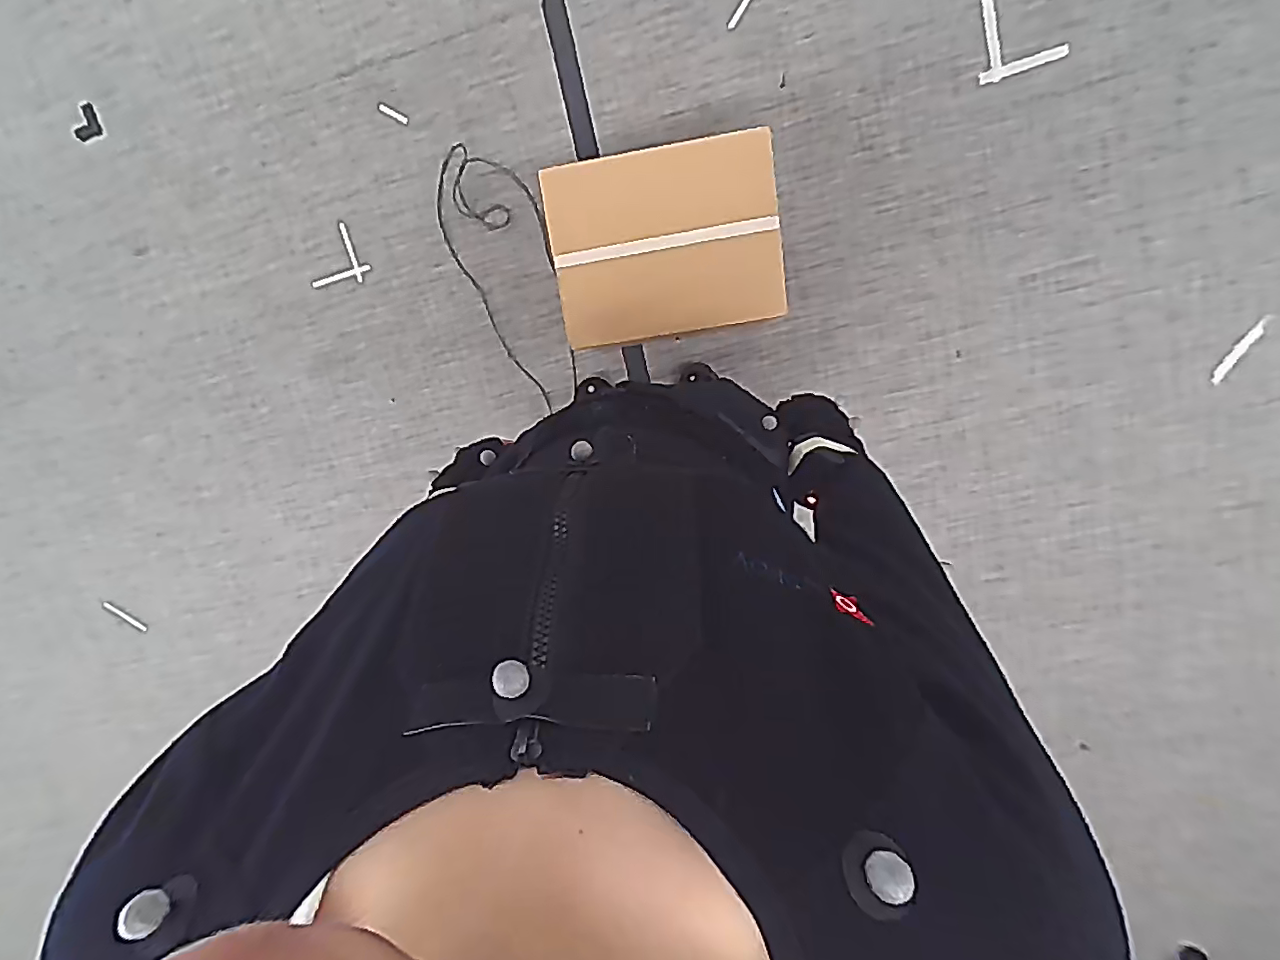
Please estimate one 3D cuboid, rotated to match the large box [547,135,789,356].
[{"bbox_3d":[0.060,-0.443,1.111,0.408,0.320,0.320,-7,103,5],"label":"large box"}]
